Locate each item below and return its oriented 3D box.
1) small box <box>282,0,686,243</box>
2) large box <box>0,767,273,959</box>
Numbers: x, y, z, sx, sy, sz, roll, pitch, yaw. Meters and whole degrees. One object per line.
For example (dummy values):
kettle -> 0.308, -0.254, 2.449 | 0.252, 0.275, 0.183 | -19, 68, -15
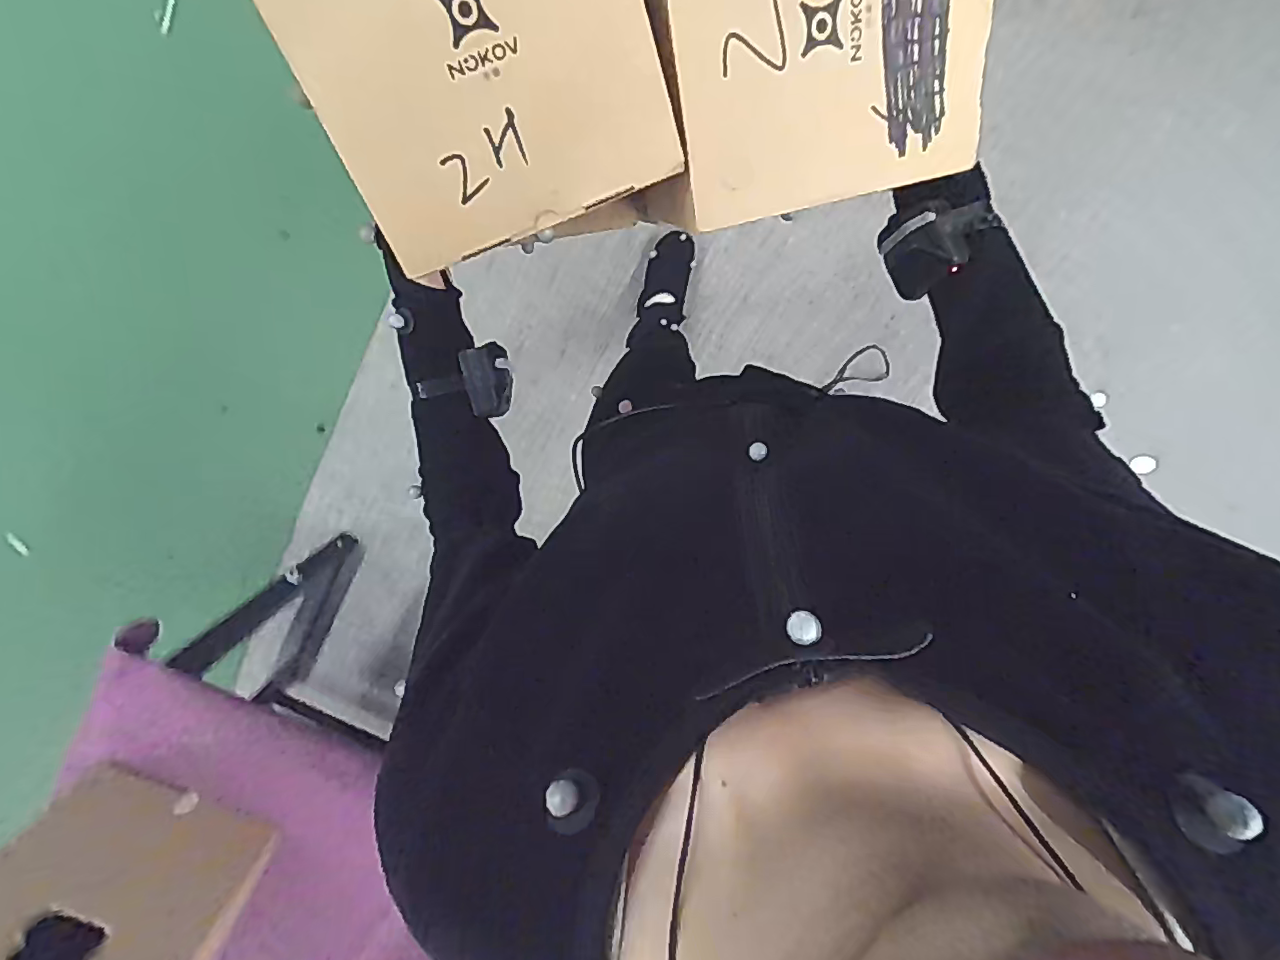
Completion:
small box -> -0.091, -0.259, 0.317 | 0.168, 0.176, 0.179 | -21, 120, 0
large box -> -0.845, 0.739, 0.803 | 0.320, 0.320, 0.408 | 28, 103, -10
